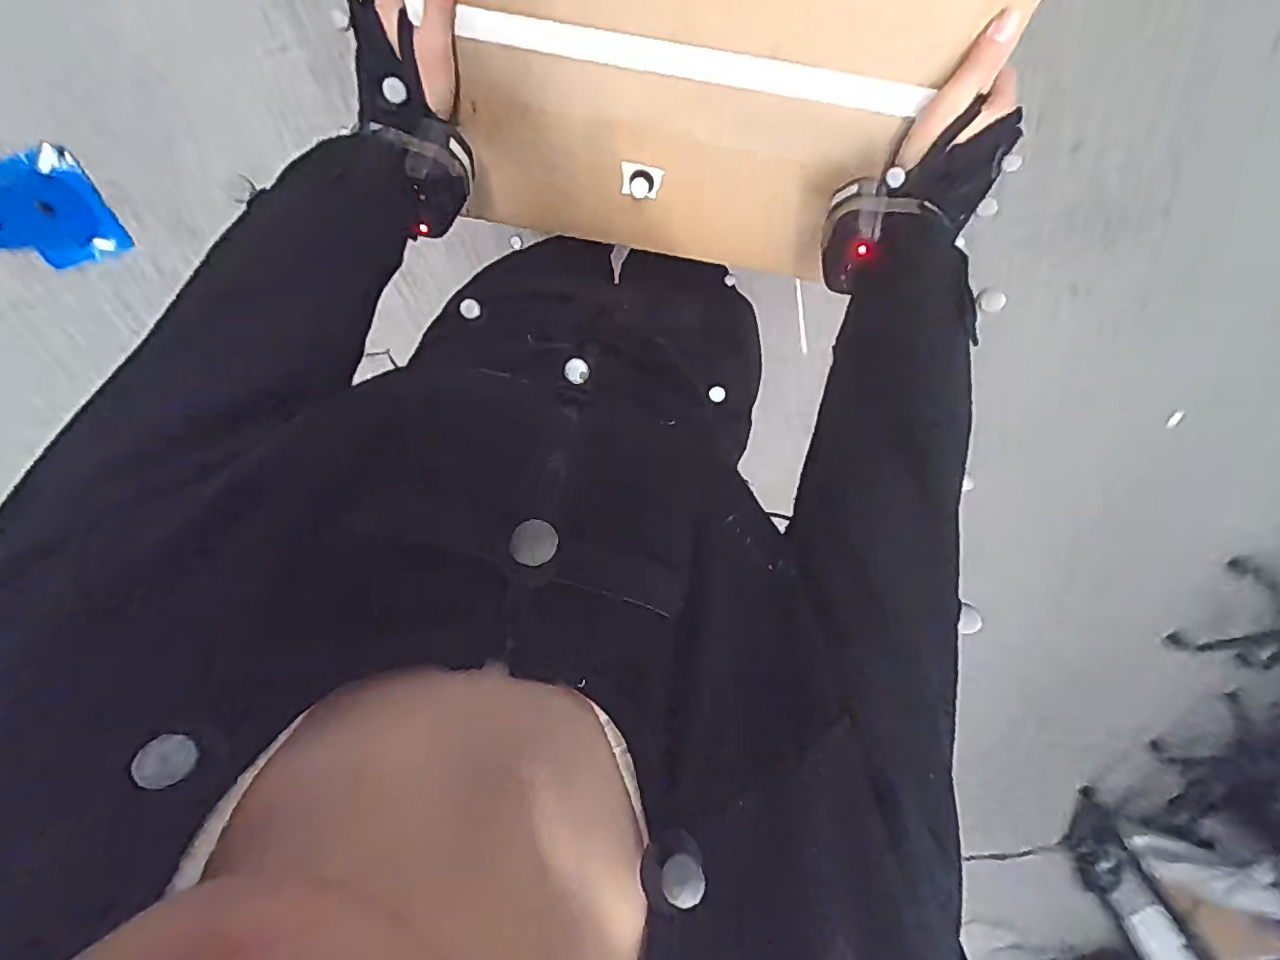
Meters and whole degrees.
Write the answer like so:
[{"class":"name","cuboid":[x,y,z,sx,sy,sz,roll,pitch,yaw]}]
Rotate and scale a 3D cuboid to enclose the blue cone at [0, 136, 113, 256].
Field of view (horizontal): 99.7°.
[{"class":"blue cone","cuboid":[-1.174,-0.471,0.938,0.193,0.380,0.192,-11,122,4]}]
